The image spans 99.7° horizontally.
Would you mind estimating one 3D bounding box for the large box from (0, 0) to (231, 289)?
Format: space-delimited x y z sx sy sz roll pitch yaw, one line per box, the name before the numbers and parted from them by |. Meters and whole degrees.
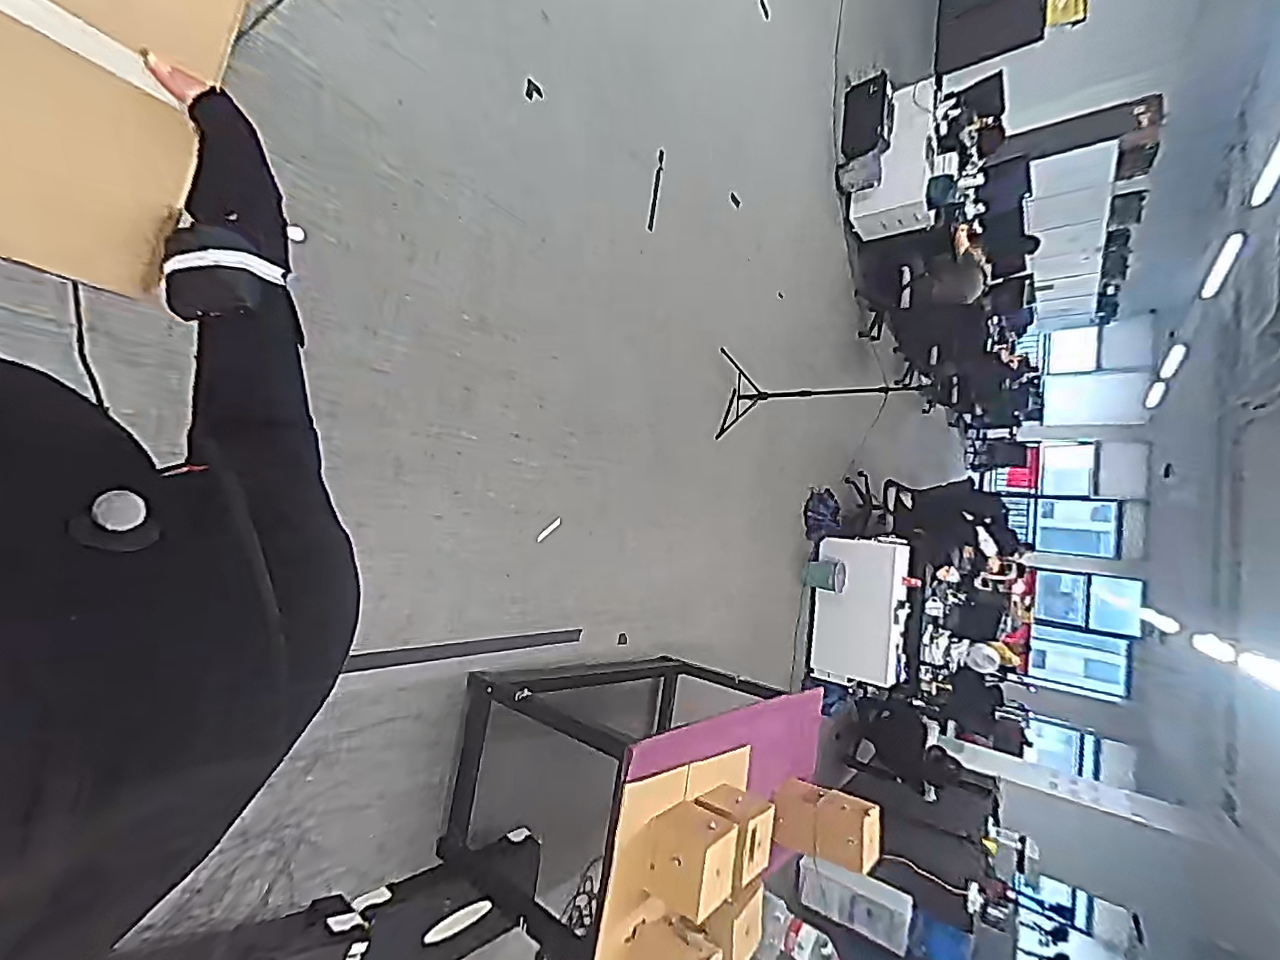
large box | -0.576 -0.362 0.351 0.408 0.320 0.320 14 95 -55
